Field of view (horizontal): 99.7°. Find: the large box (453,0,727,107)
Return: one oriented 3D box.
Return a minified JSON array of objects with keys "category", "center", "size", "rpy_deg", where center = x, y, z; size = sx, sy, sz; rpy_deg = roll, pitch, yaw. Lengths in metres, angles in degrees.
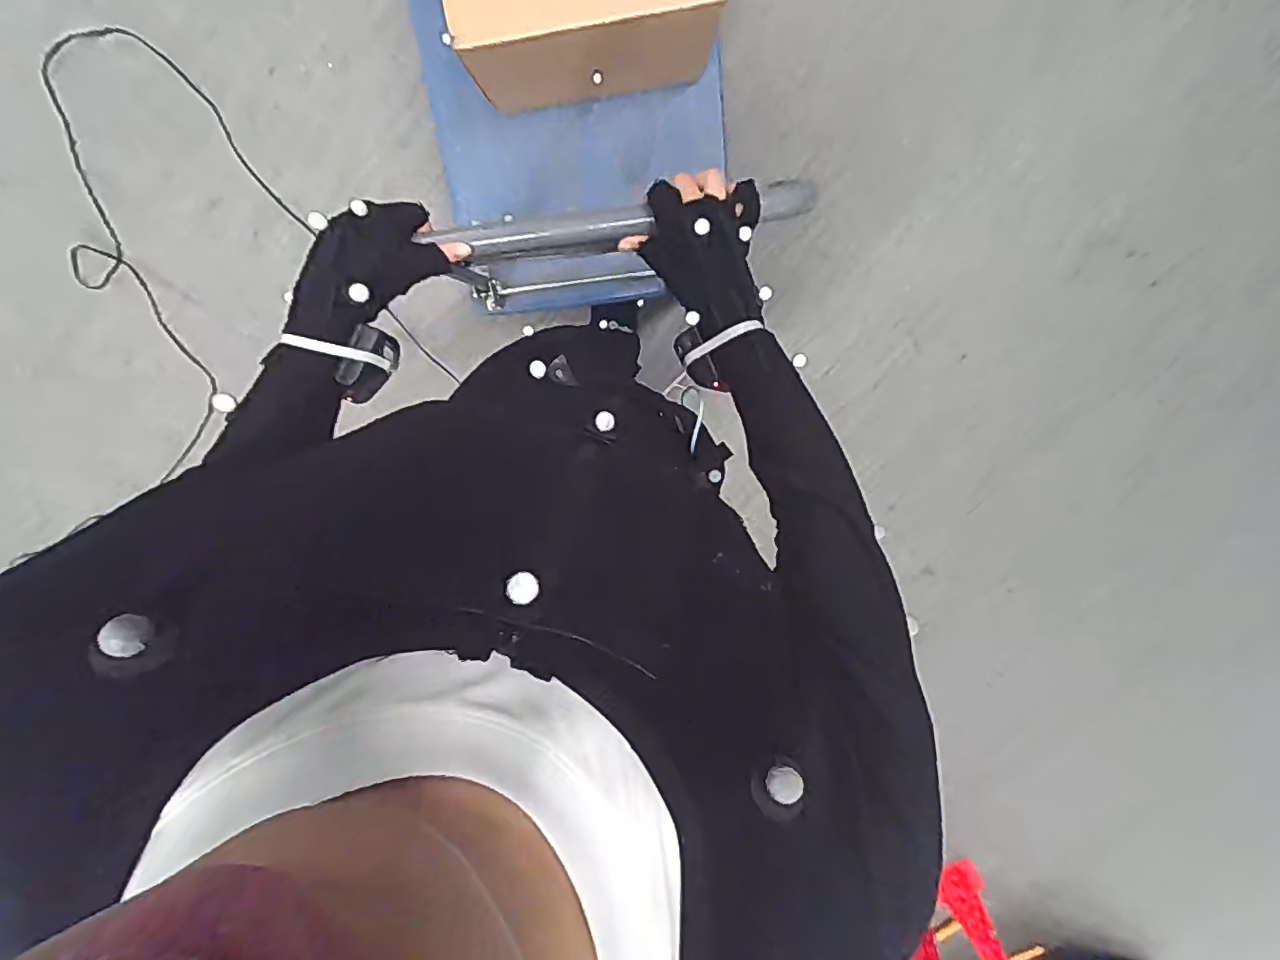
[{"category":"large box","center":[-0.091,-0.858,0.875],"size":[0.408,0.320,0.320],"rpy_deg":[-9,108,2]}]
